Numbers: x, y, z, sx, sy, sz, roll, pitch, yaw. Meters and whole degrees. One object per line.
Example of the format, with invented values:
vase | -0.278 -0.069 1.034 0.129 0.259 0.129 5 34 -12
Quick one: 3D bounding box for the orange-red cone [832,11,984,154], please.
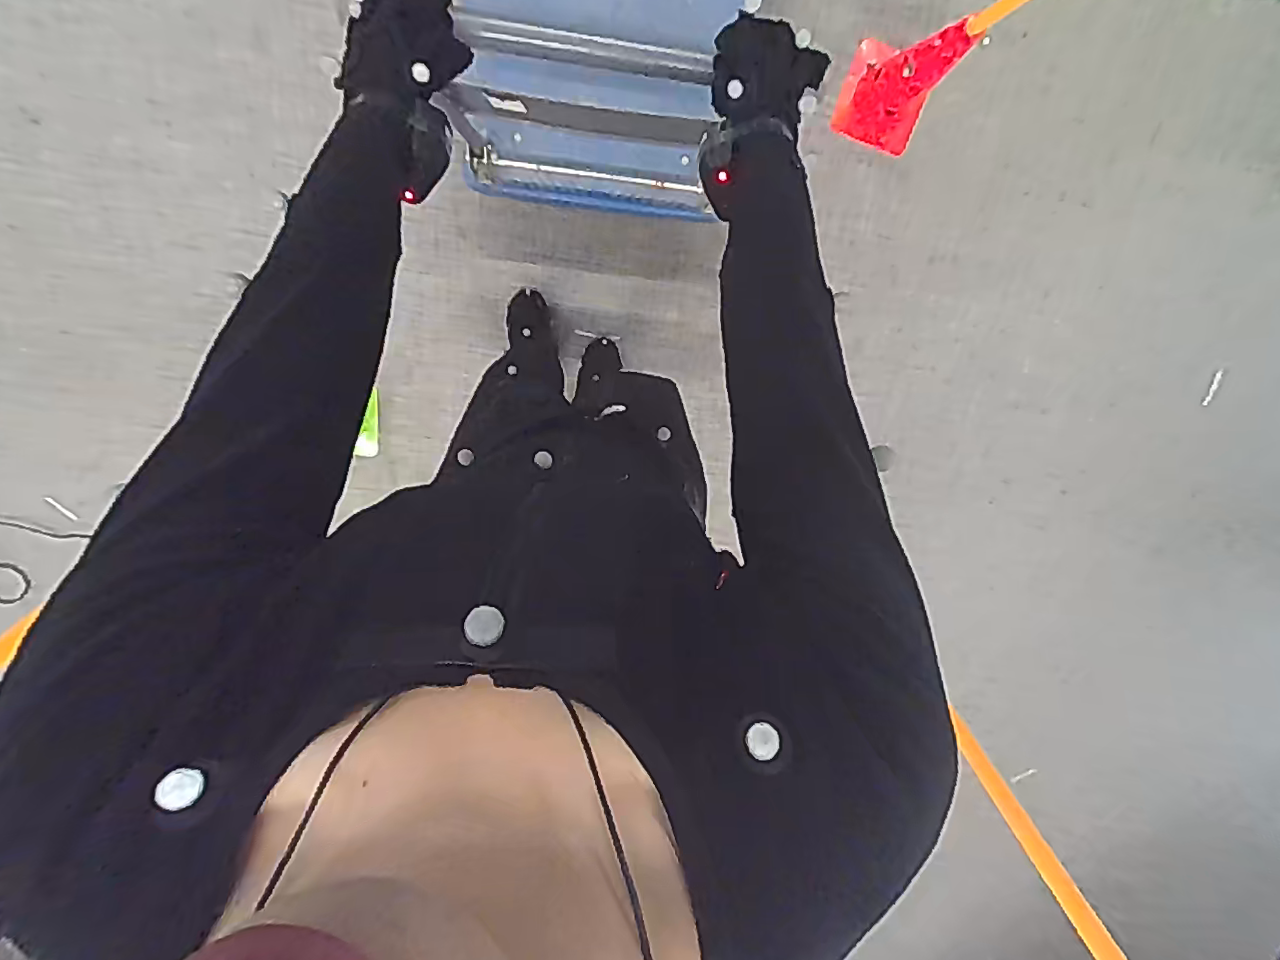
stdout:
orange-red cone | 0.580 -0.850 1.113 0.198 0.360 0.199 19 107 -8
